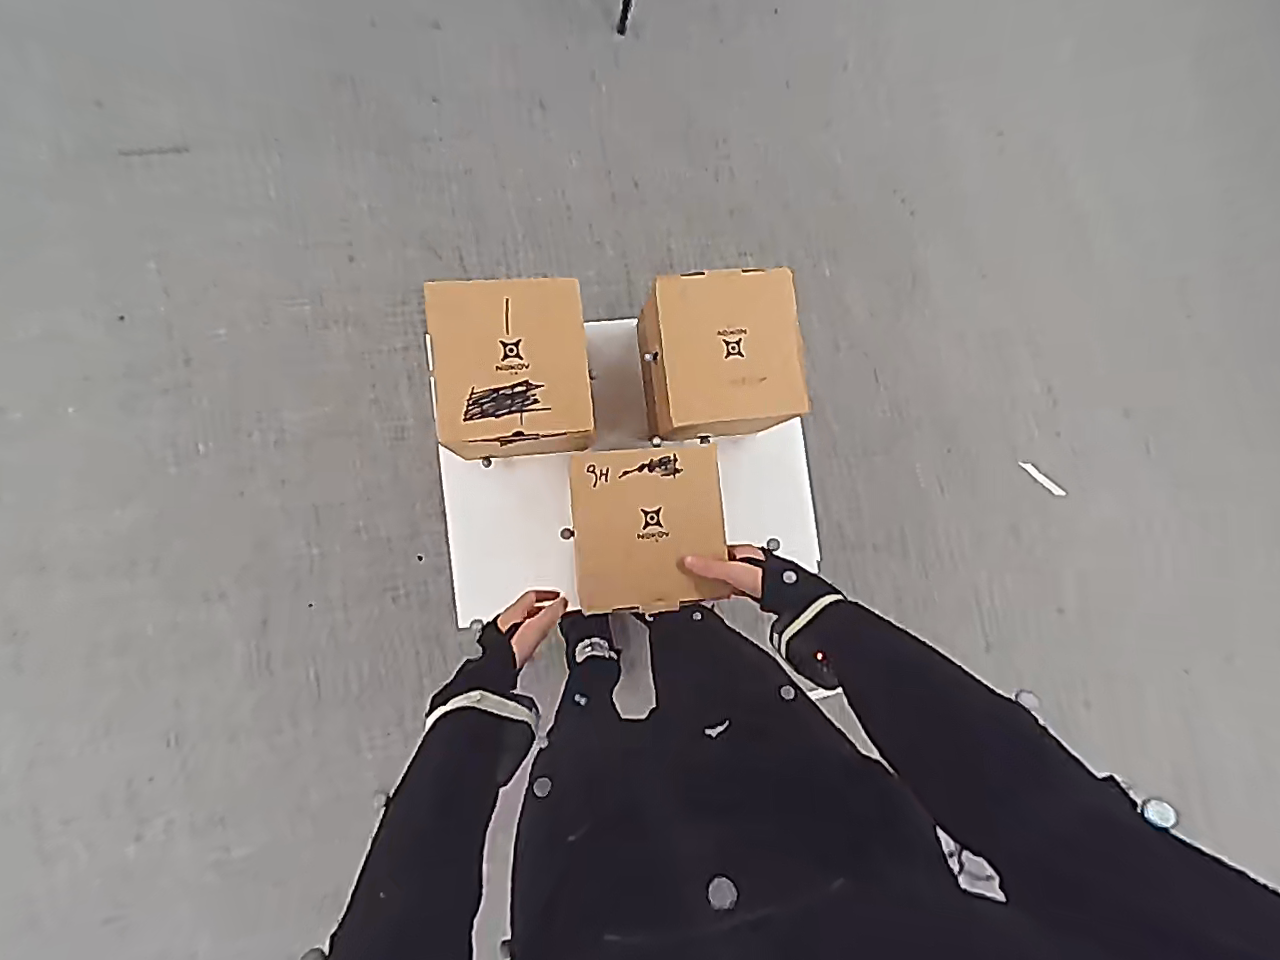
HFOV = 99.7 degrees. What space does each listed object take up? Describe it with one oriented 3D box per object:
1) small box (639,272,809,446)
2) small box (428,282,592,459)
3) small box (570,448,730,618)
[{"bbox_3d":[0.096,-0.146,0.699,0.168,0.176,0.179,-7,89,-8],"label":"small box"},{"bbox_3d":[-0.149,-0.121,0.658,0.168,0.176,0.179,-5,86,-9],"label":"small box"},{"bbox_3d":[0.002,0.060,0.668,0.168,0.176,0.179,-5,86,-9],"label":"small box"}]
